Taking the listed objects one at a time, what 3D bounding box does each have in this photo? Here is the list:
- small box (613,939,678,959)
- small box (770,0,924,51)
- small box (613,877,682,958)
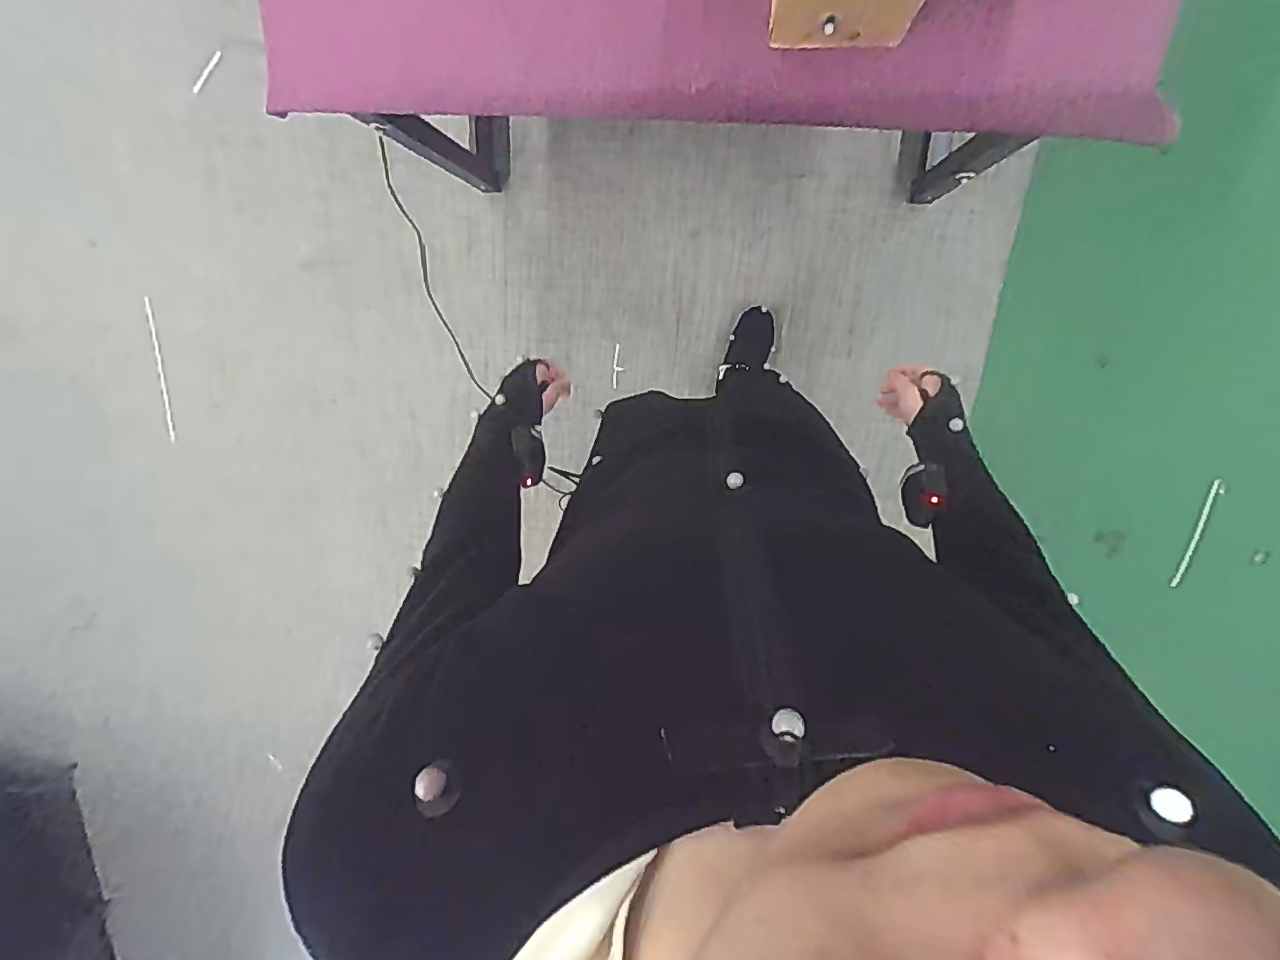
[{"bbox_3d":[0.000,1.279,1.312,0.168,0.176,0.179,10,106,4],"label":"small box"},{"bbox_3d":[0.244,-0.628,0.607,0.168,0.176,0.179,5,106,6],"label":"small box"},{"bbox_3d":[0.021,1.236,1.469,0.168,0.176,0.179,8,106,5],"label":"small box"}]
